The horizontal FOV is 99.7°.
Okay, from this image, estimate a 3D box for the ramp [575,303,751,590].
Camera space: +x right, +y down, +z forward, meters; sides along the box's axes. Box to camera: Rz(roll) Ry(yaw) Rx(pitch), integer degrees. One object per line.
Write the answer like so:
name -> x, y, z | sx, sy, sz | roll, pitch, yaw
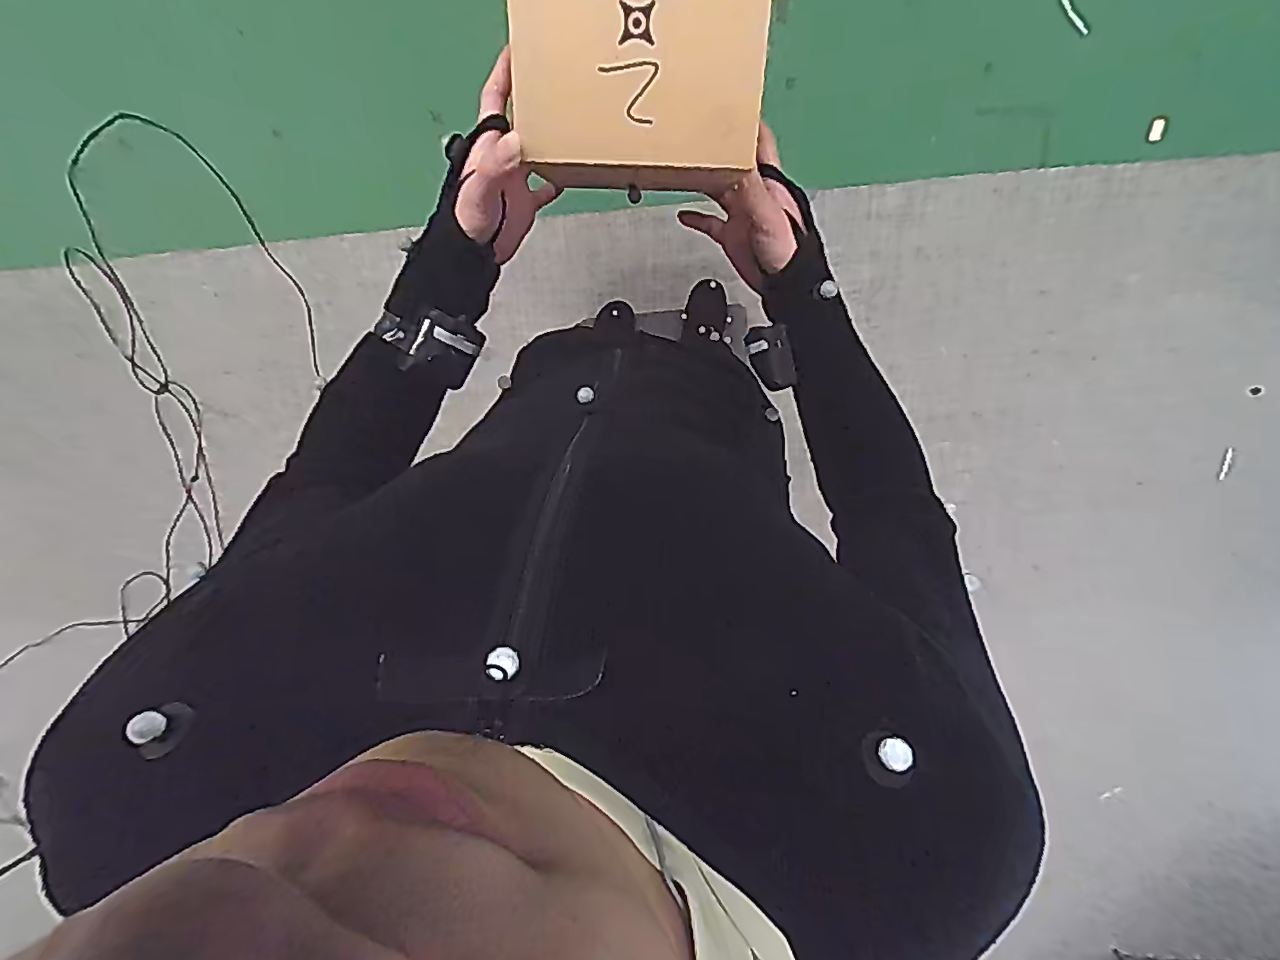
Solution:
ramp -> 0.111, -0.037, 1.746 | 0.509, 0.206, 0.991 | -5, 110, 6
